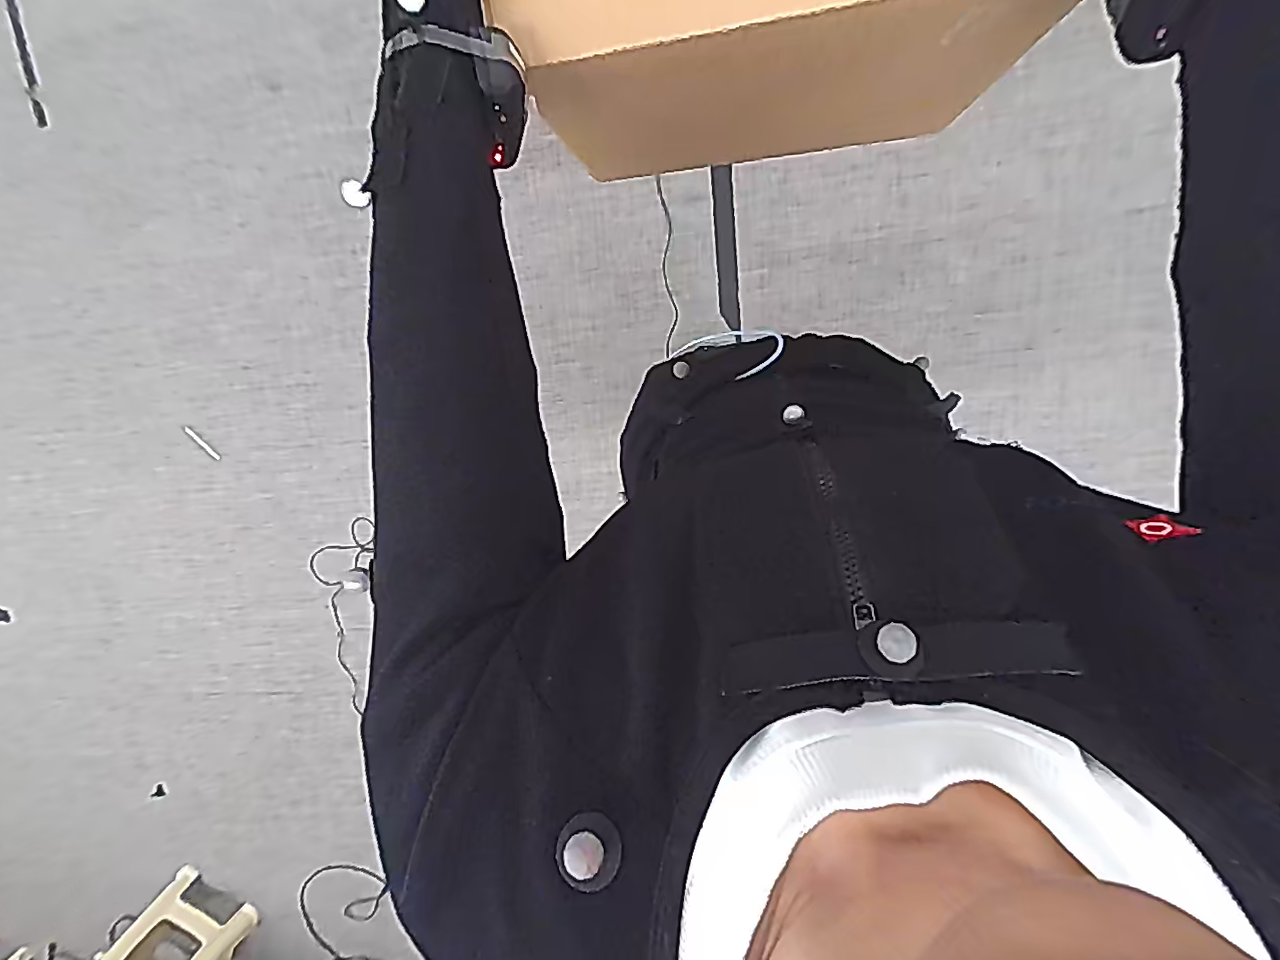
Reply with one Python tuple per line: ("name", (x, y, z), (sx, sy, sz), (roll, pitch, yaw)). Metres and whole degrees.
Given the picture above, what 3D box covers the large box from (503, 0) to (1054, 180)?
("large box", (0.104, -0.496, 0.466), (0.408, 0.320, 0.320), (-4, 105, 9))
